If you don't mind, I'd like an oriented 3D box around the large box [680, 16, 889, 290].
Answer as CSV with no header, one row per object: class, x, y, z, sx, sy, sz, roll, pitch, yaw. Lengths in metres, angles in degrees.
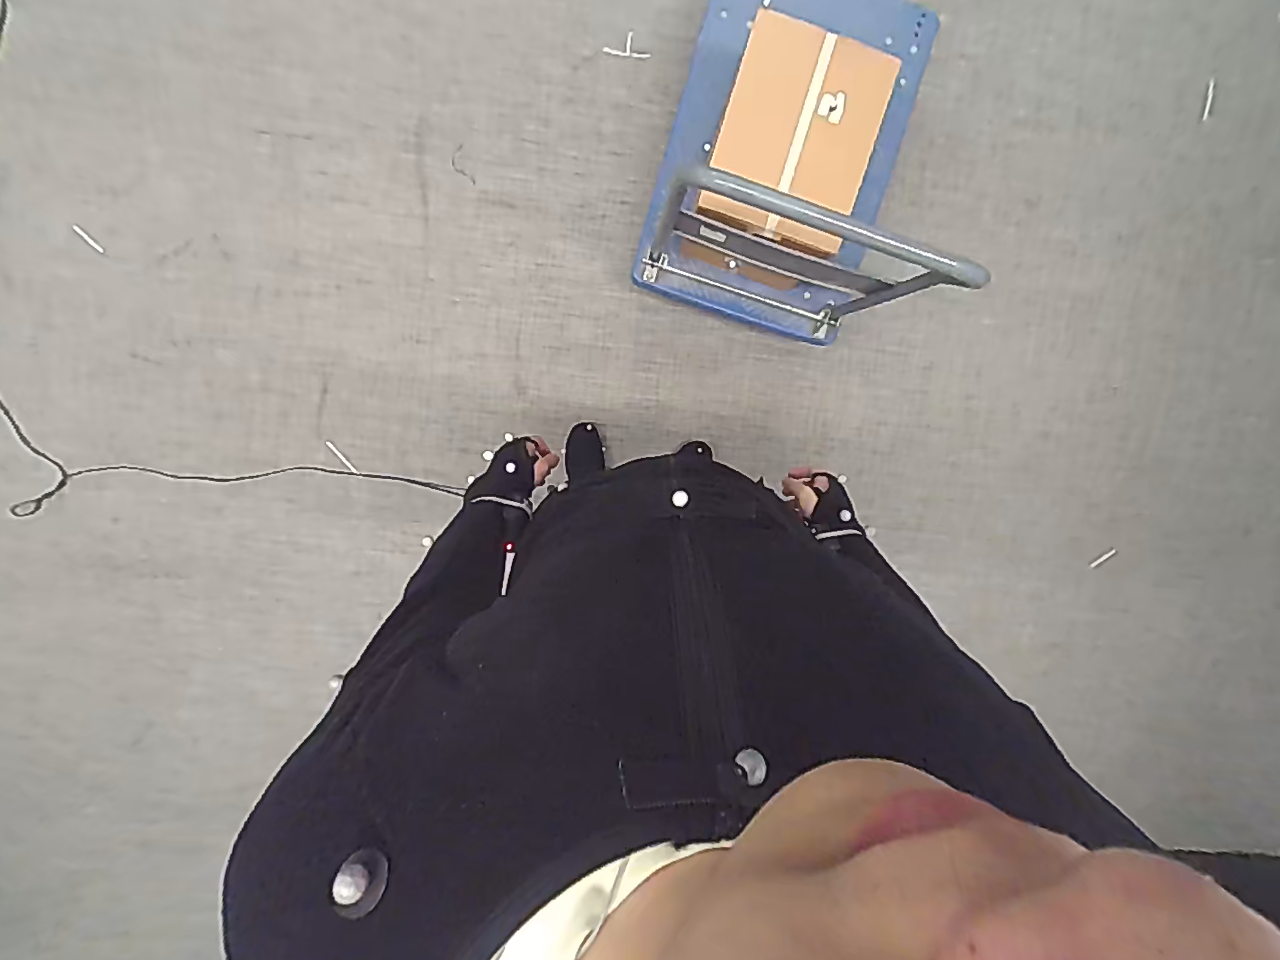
large box,0.305,-0.715,1.257,0.320,0.320,0.408,17,93,-6
